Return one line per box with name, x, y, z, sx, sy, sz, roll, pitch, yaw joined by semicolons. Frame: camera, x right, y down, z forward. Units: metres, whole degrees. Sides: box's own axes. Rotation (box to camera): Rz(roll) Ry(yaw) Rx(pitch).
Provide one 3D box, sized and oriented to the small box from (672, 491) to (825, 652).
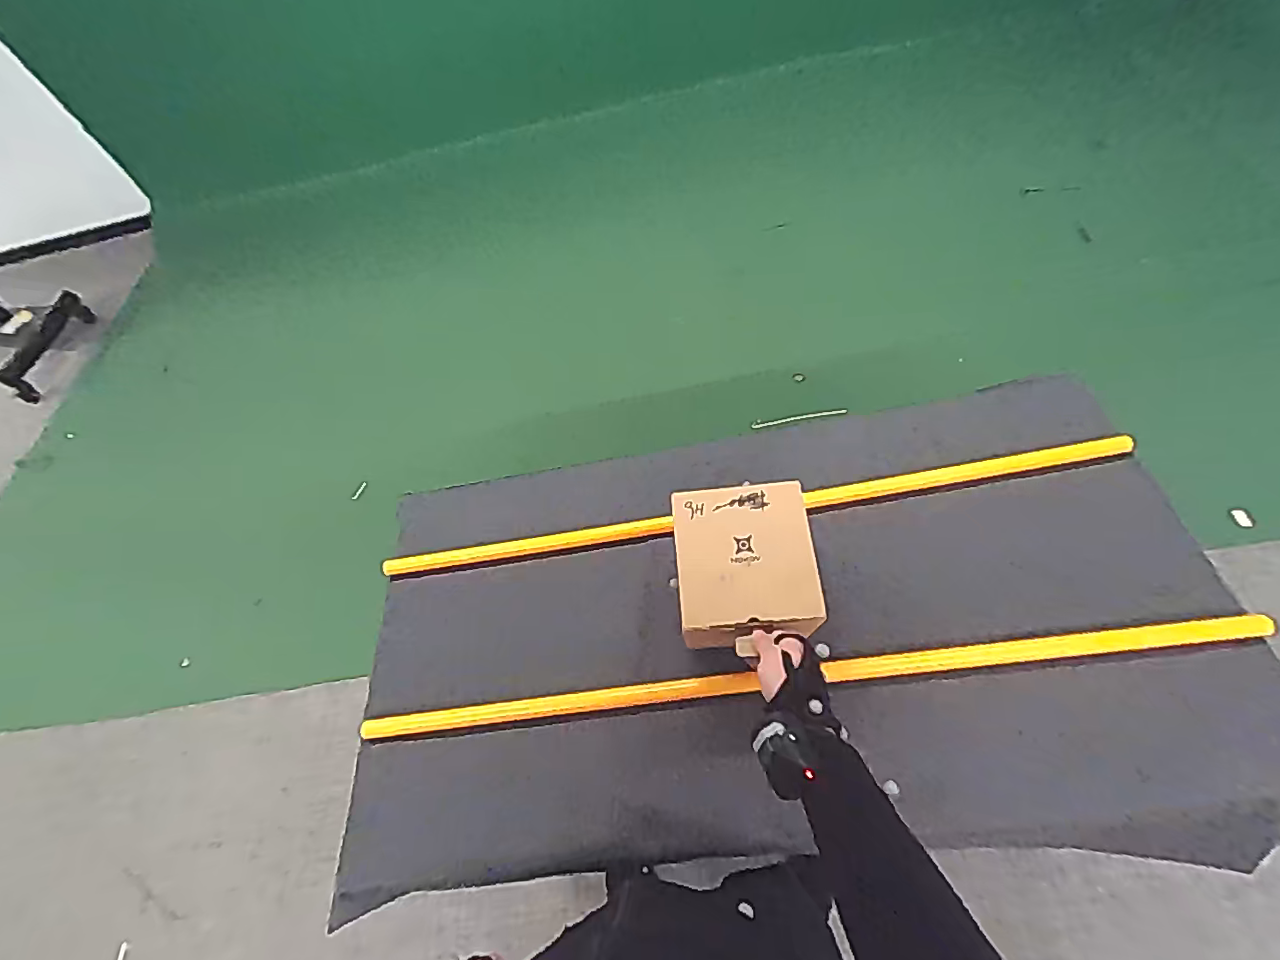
small box;0.144;0.135;0.737;0.168;0.176;0.179;-9;66;7
